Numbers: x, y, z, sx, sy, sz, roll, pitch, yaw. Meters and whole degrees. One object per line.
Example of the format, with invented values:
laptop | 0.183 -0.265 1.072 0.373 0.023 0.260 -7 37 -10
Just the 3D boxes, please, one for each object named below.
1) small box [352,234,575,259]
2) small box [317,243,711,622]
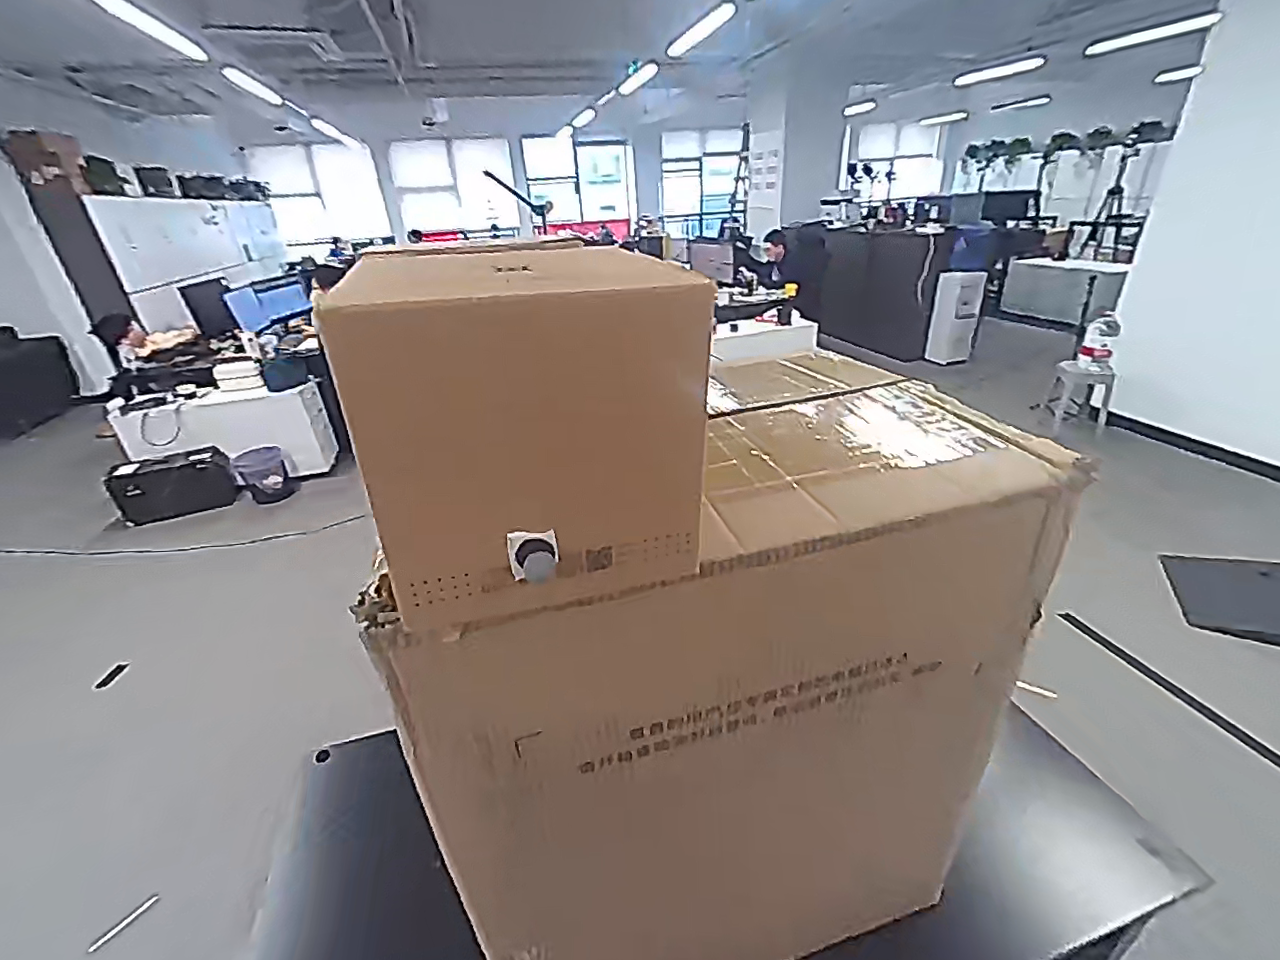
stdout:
small box | -0.149 -0.135 0.511 0.168 0.176 0.179 -11 27 -14
small box | -0.070 -0.045 0.332 0.168 0.176 0.179 -11 31 -16
